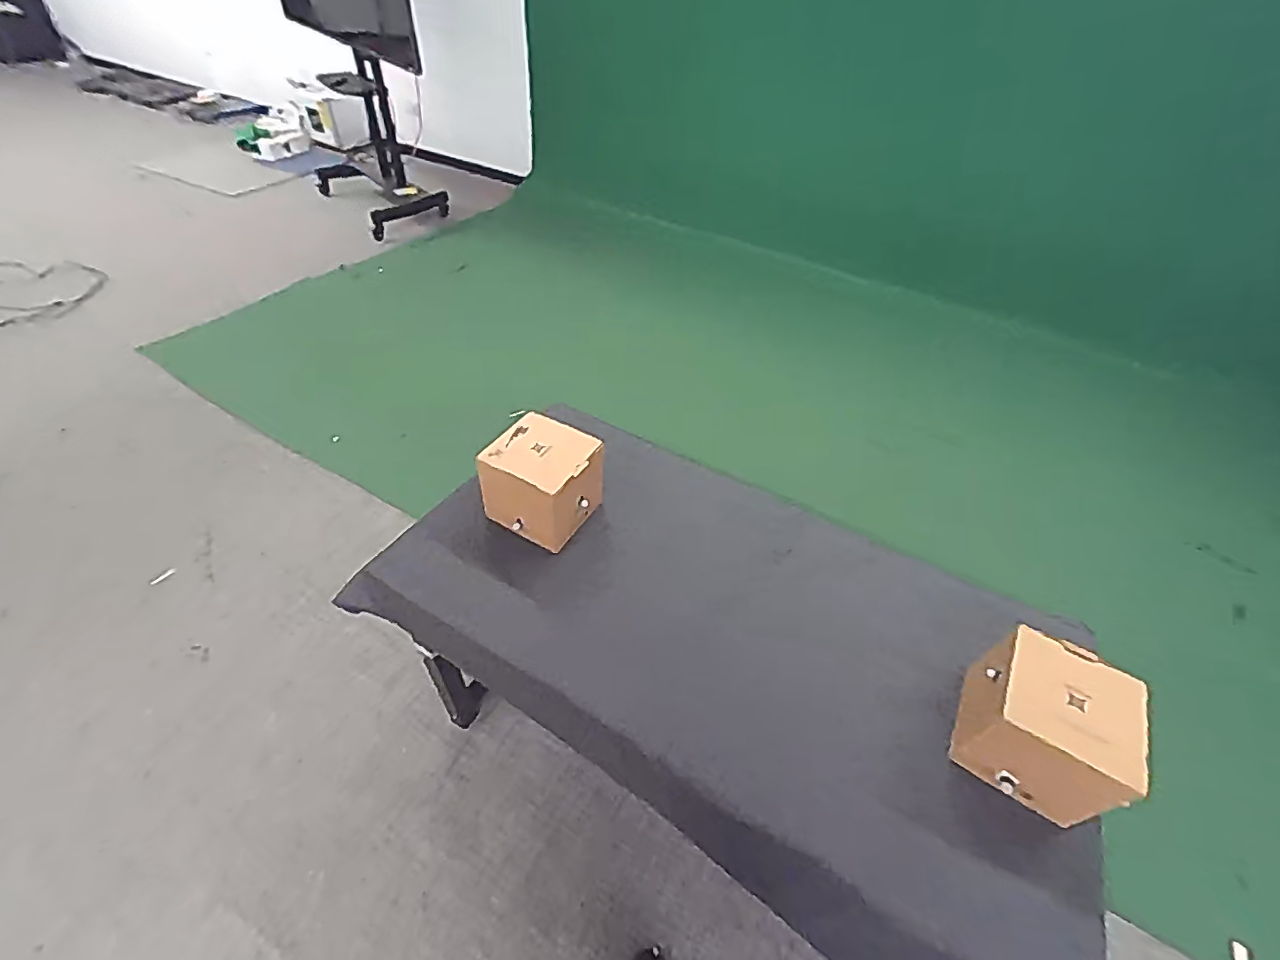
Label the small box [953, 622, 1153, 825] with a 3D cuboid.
[{"bbox_3d":[0.584,0.348,0.779,0.168,0.176,0.179,28,50,24],"label":"small box"}]

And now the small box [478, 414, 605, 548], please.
[{"bbox_3d":[-0.187,0.008,1.059,0.179,0.176,0.168,25,48,17],"label":"small box"}]
